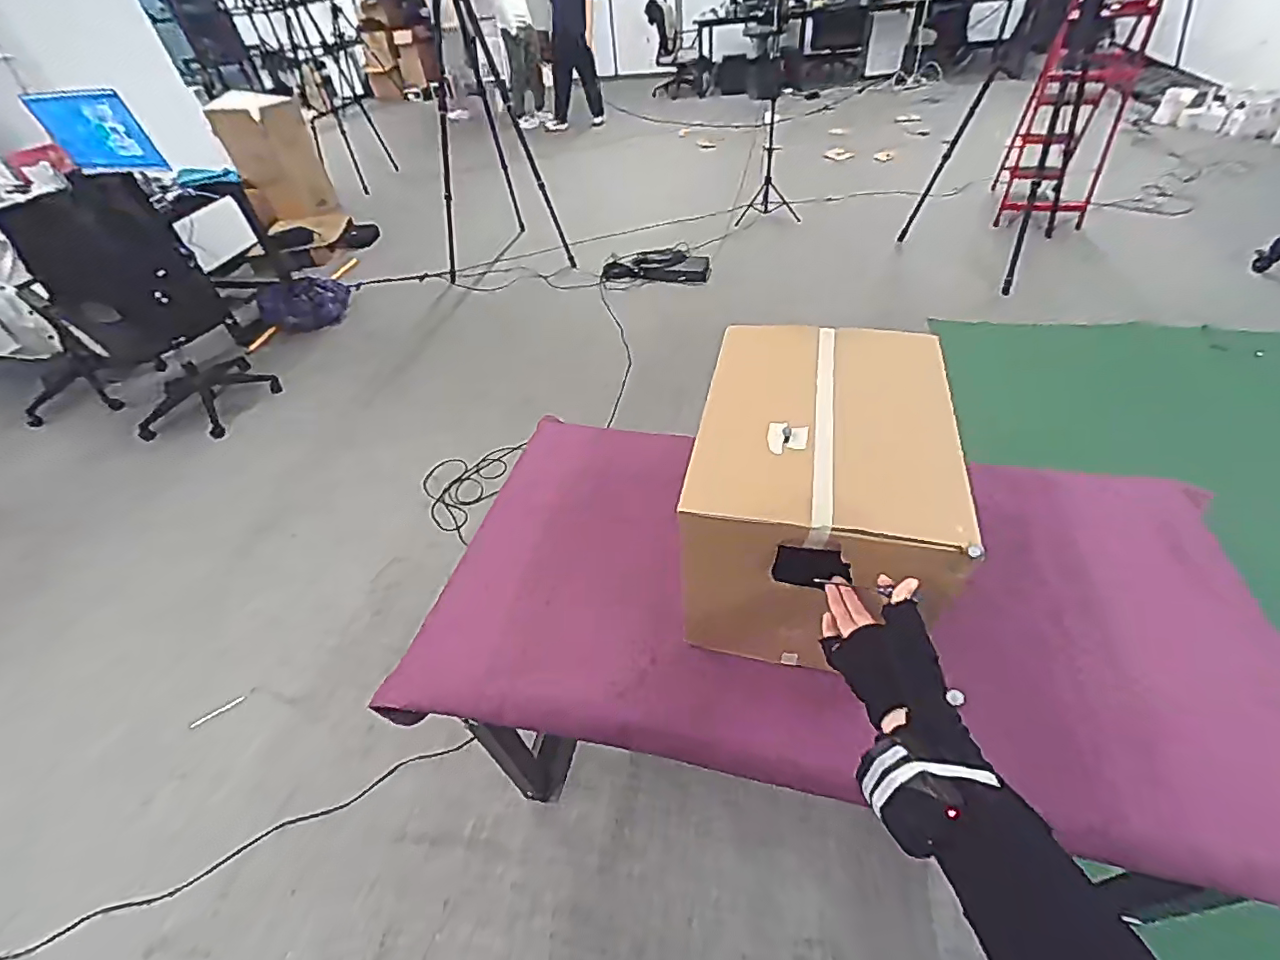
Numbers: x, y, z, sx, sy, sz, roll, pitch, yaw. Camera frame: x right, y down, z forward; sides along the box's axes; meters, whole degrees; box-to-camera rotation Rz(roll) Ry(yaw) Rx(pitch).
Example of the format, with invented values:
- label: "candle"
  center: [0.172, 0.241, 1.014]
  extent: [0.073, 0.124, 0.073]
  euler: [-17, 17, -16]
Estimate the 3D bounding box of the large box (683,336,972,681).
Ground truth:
- label: "large box"
  center: [0.253, 0.028, 0.826]
  extent: [0.320, 0.320, 0.408]
  euler: [7, 48, 14]
